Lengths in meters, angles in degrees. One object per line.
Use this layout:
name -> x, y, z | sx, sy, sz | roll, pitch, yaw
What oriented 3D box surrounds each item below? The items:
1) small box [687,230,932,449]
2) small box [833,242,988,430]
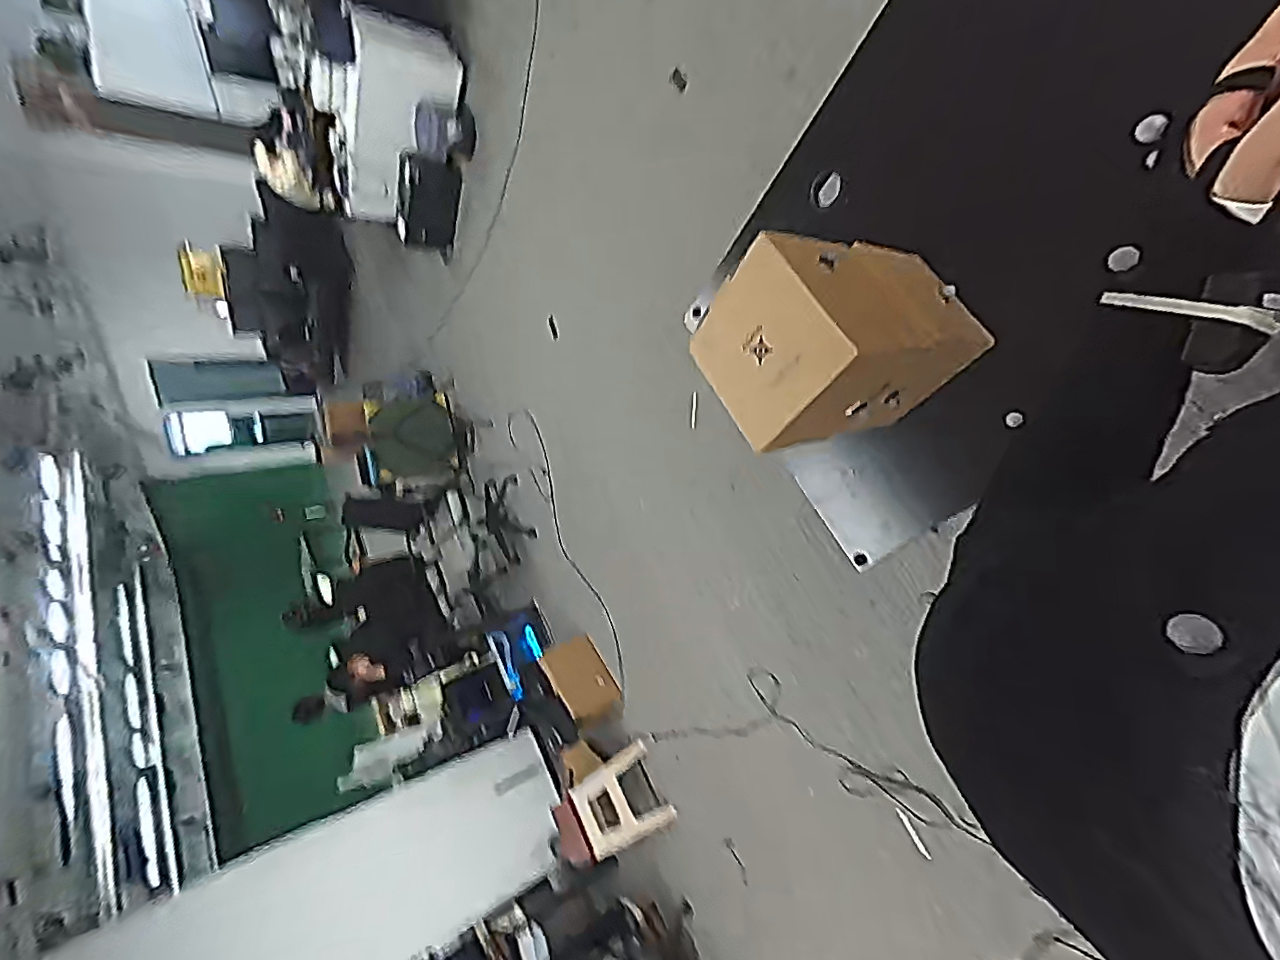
small box -> 0.193, -0.160, 0.636 | 0.179, 0.176, 0.168 | 60, 140, 21
small box -> 0.321, -0.187, 0.733 | 0.179, 0.176, 0.168 | -50, 60, 44
